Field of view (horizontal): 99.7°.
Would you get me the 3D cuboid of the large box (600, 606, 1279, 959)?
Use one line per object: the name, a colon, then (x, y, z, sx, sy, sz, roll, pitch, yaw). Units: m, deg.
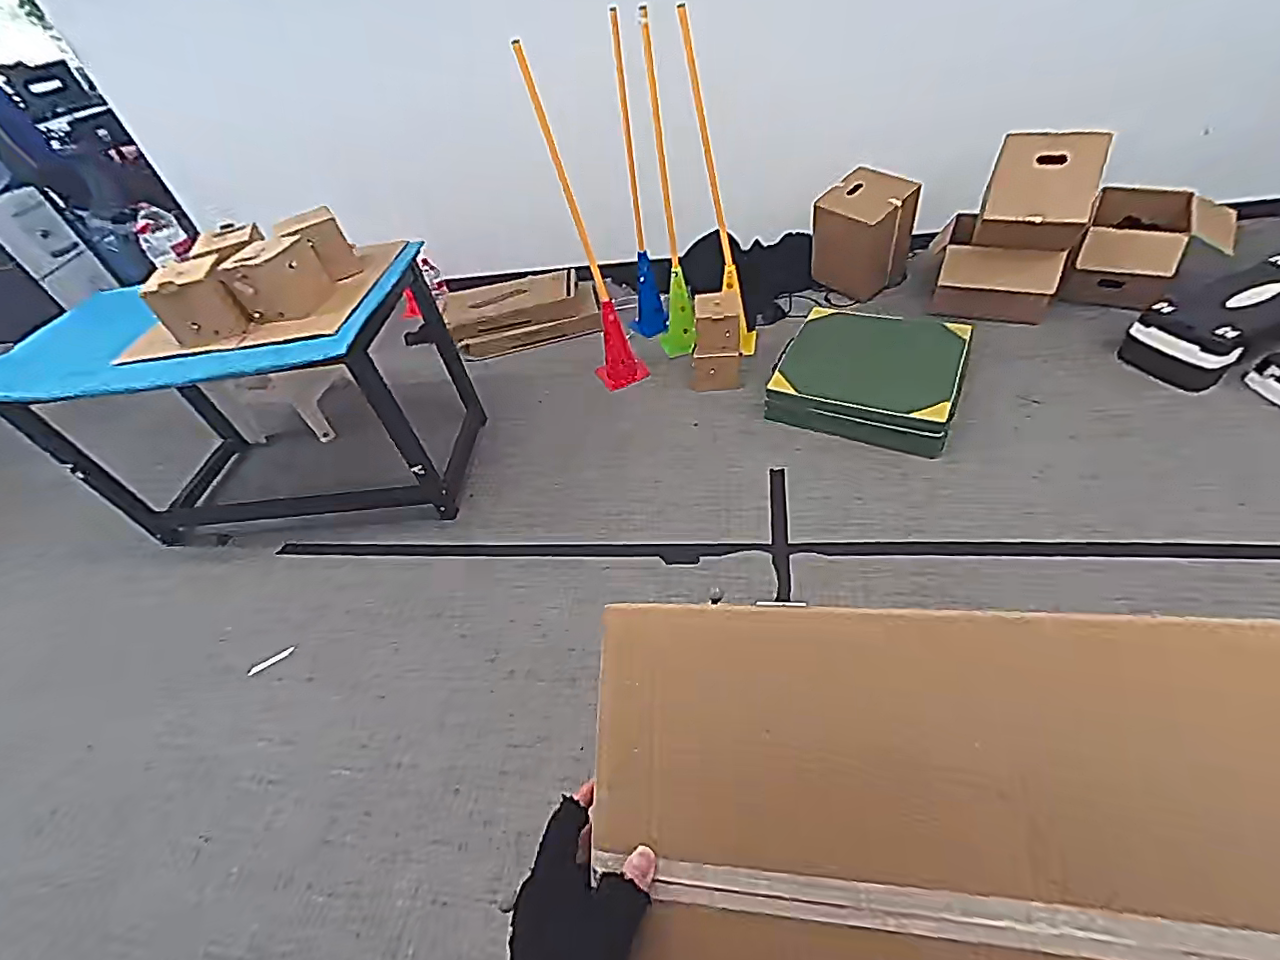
large box: (0.200, 0.269, 0.439, 0.408, 0.320, 0.320, -2, 76, 13)
